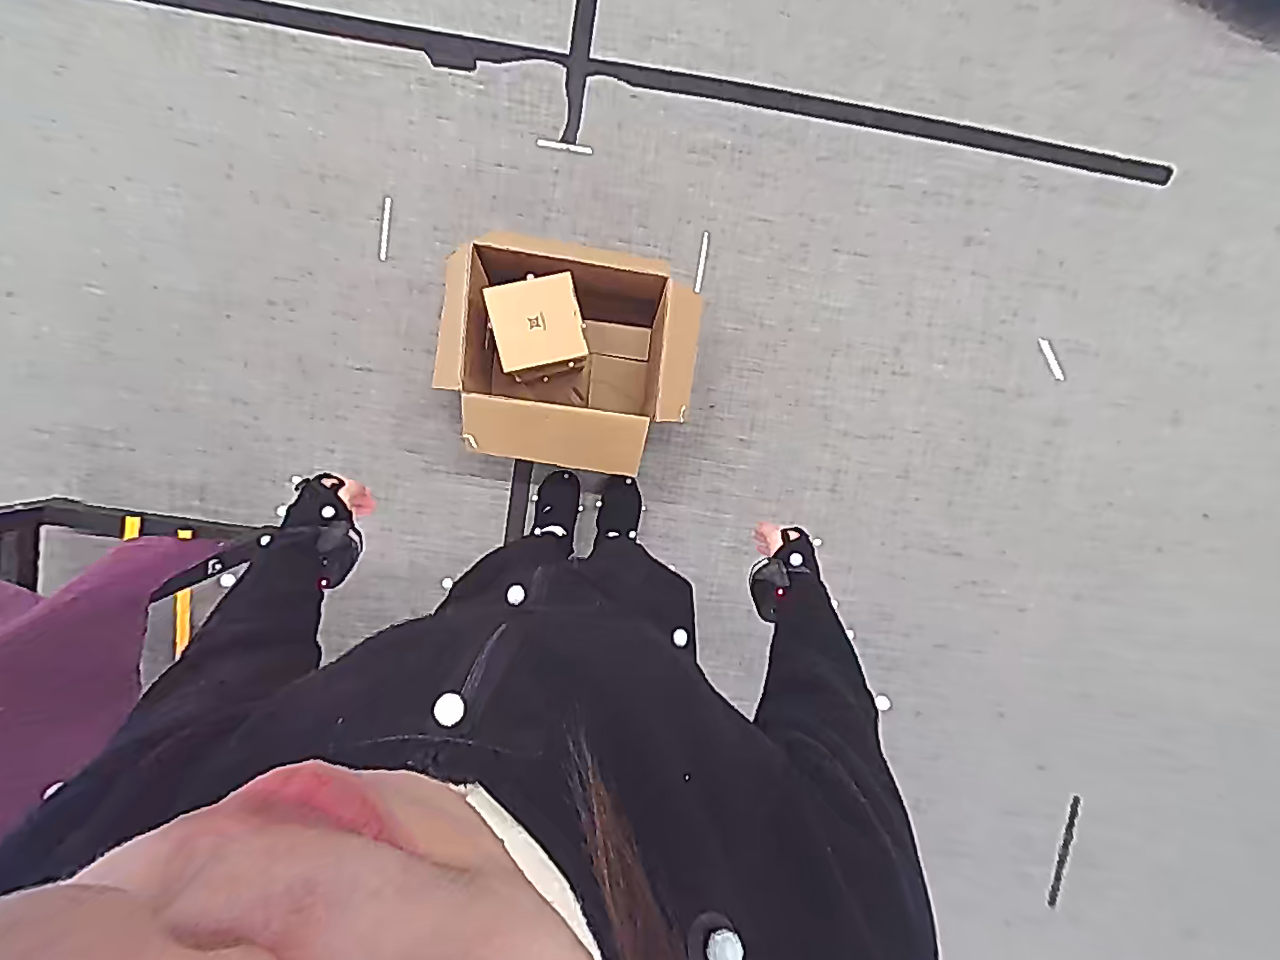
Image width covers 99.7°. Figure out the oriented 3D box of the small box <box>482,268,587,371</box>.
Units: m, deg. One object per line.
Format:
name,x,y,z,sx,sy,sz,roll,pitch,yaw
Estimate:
small box,-0.216,-0.331,1.146,0.179,0.176,0.168,-14,101,-6
